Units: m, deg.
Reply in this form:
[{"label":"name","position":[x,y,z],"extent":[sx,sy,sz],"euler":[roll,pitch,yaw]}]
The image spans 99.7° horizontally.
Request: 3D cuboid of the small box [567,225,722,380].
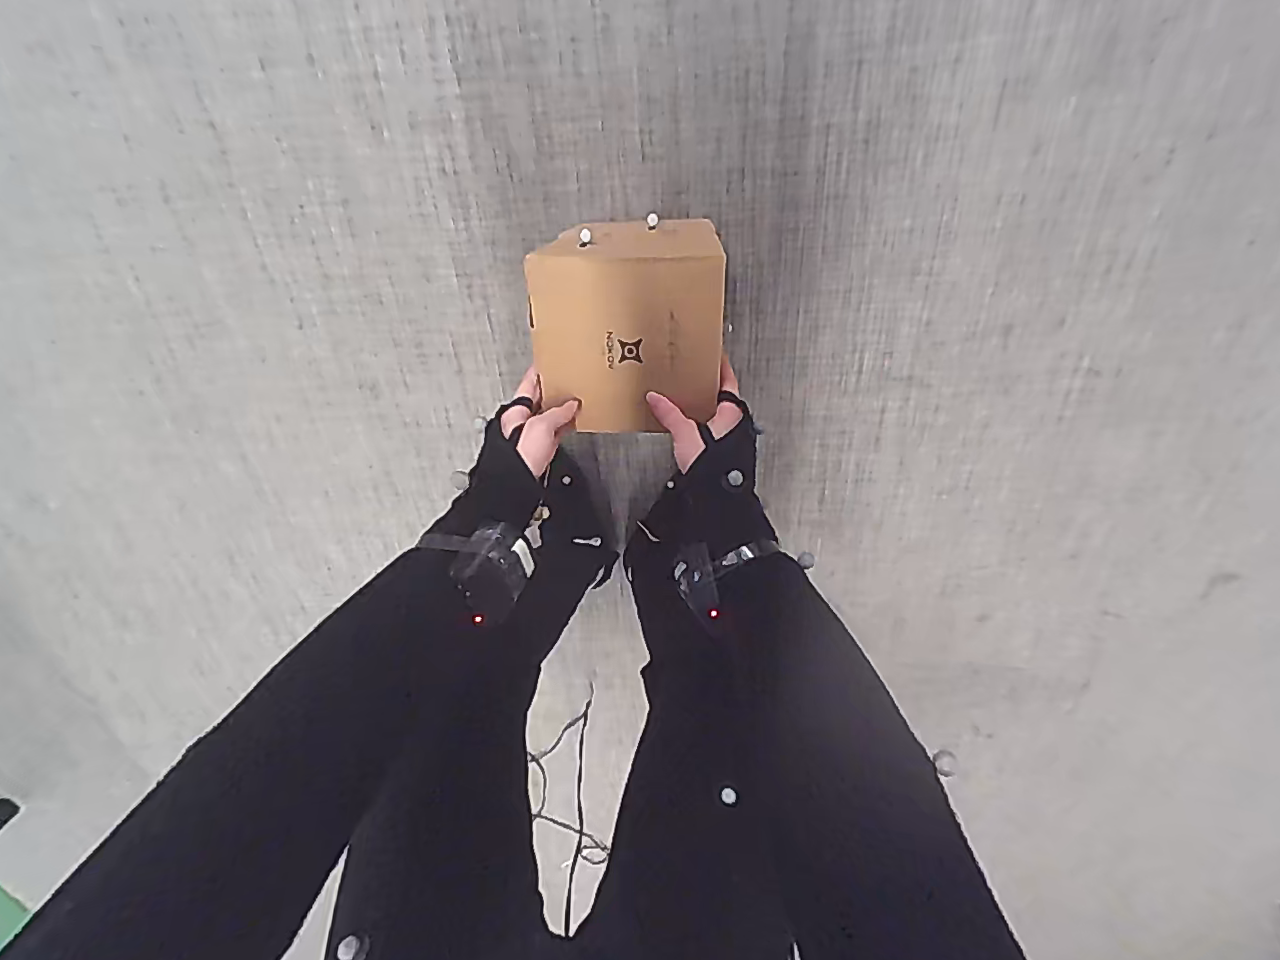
[{"label":"small box","position":[0.011,-0.236,0.708],"extent":[0.179,0.176,0.168],"euler":[0,118,5]}]
